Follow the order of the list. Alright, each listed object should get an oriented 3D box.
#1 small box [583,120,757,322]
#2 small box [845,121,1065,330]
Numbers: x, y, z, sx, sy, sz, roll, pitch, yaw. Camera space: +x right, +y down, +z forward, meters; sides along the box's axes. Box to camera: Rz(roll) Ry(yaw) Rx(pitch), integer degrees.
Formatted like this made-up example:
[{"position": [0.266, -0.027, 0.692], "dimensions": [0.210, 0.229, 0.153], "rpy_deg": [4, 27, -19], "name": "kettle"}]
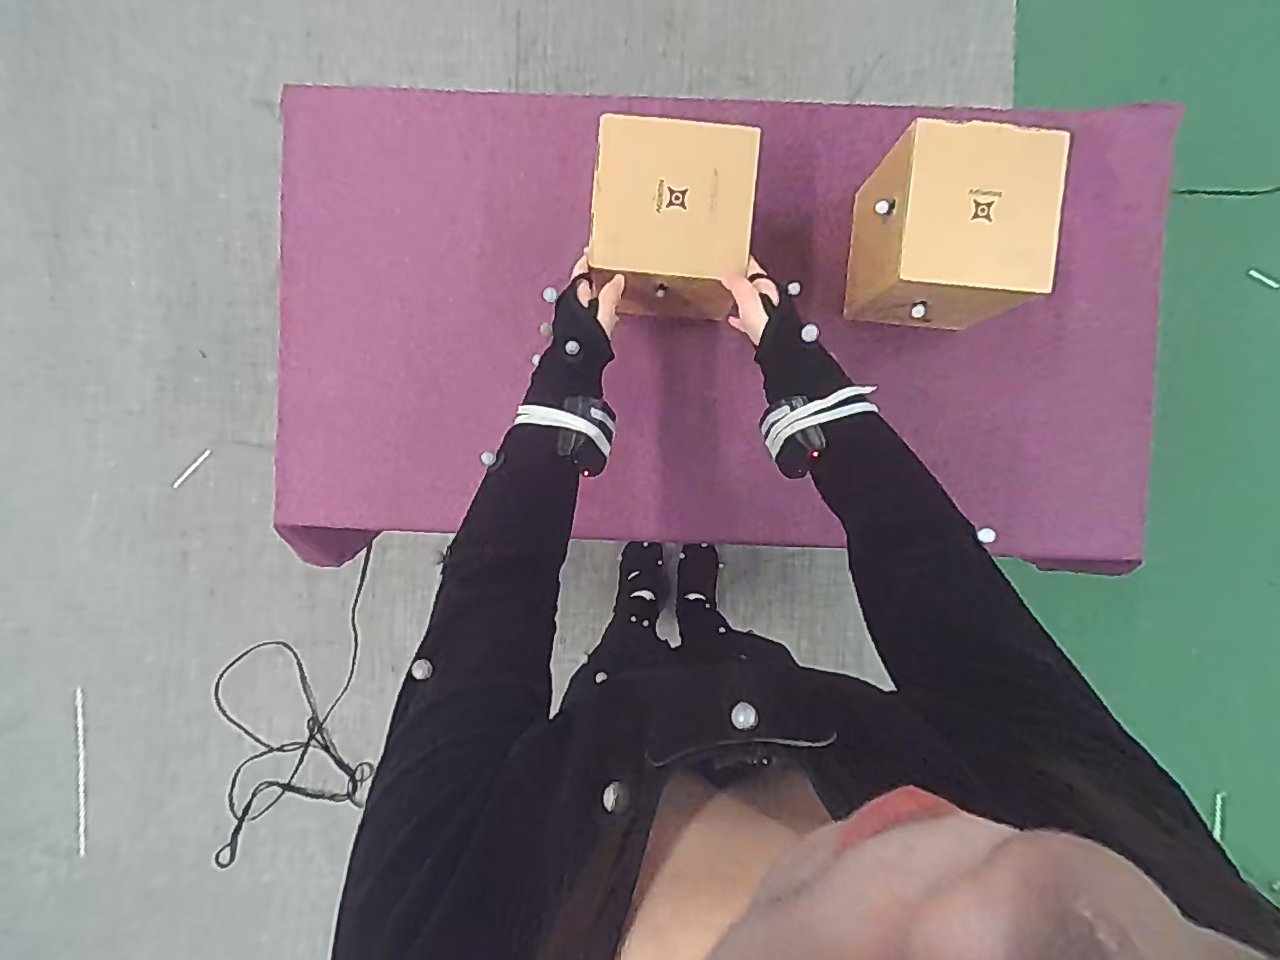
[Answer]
[{"position": [0.033, -0.300, 0.662], "dimensions": [0.179, 0.176, 0.168], "rpy_deg": [6, 92, 0], "name": "small box"}, {"position": [0.363, -0.292, 0.657], "dimensions": [0.168, 0.176, 0.179], "rpy_deg": [5, 91, 1], "name": "small box"}]
